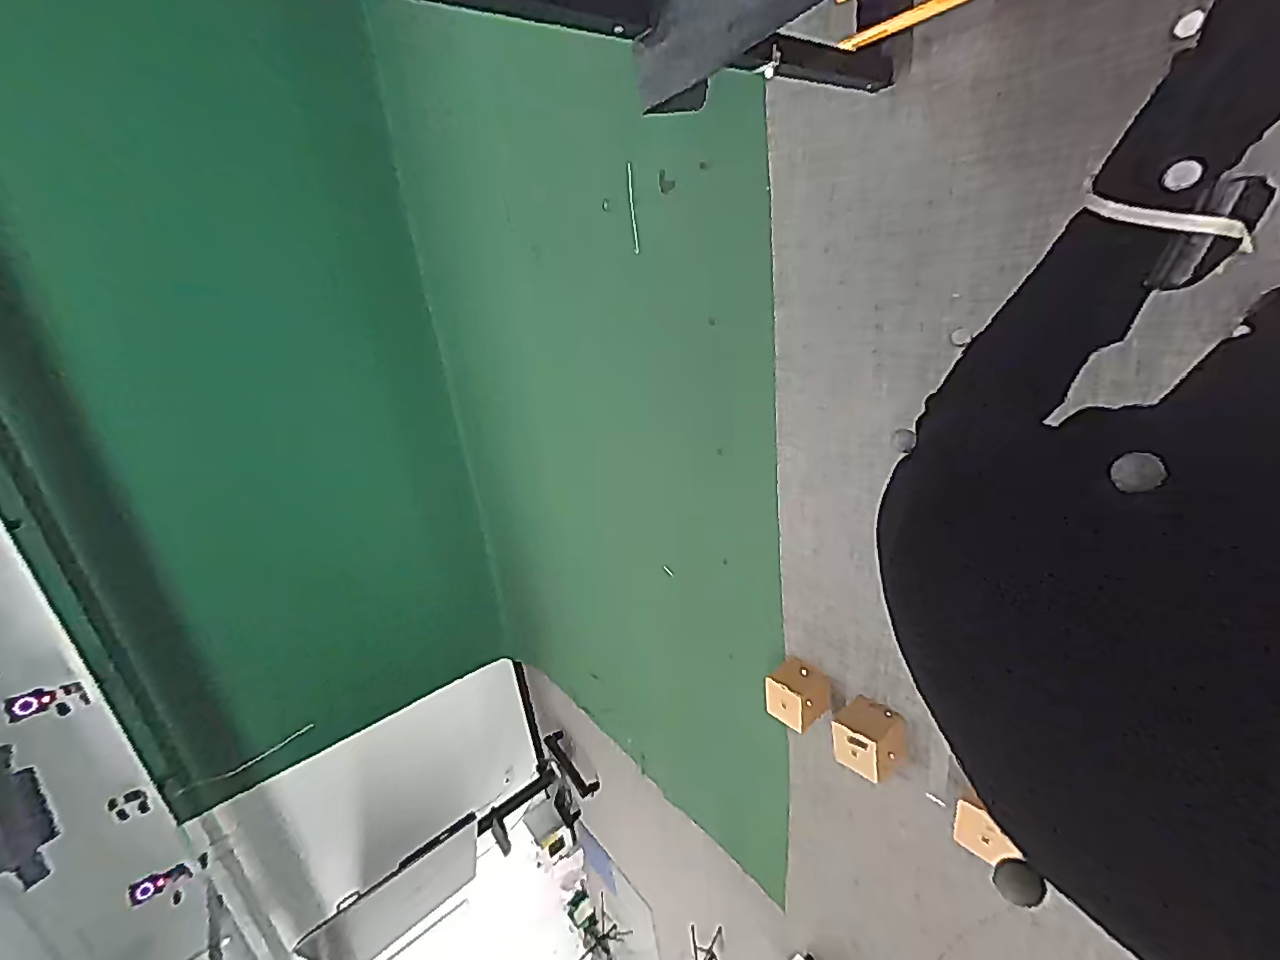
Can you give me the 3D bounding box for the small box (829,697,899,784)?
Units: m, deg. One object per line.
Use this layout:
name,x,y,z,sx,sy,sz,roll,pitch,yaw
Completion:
small box,0.772,0.884,1.856,0.168,0.176,0.179,13,118,51

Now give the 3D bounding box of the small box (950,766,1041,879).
small box,1.022,0.976,1.555,0.168,0.176,0.179,19,121,47

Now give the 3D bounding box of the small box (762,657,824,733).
small box,0.590,0.819,2.077,0.168,0.176,0.179,17,120,49
